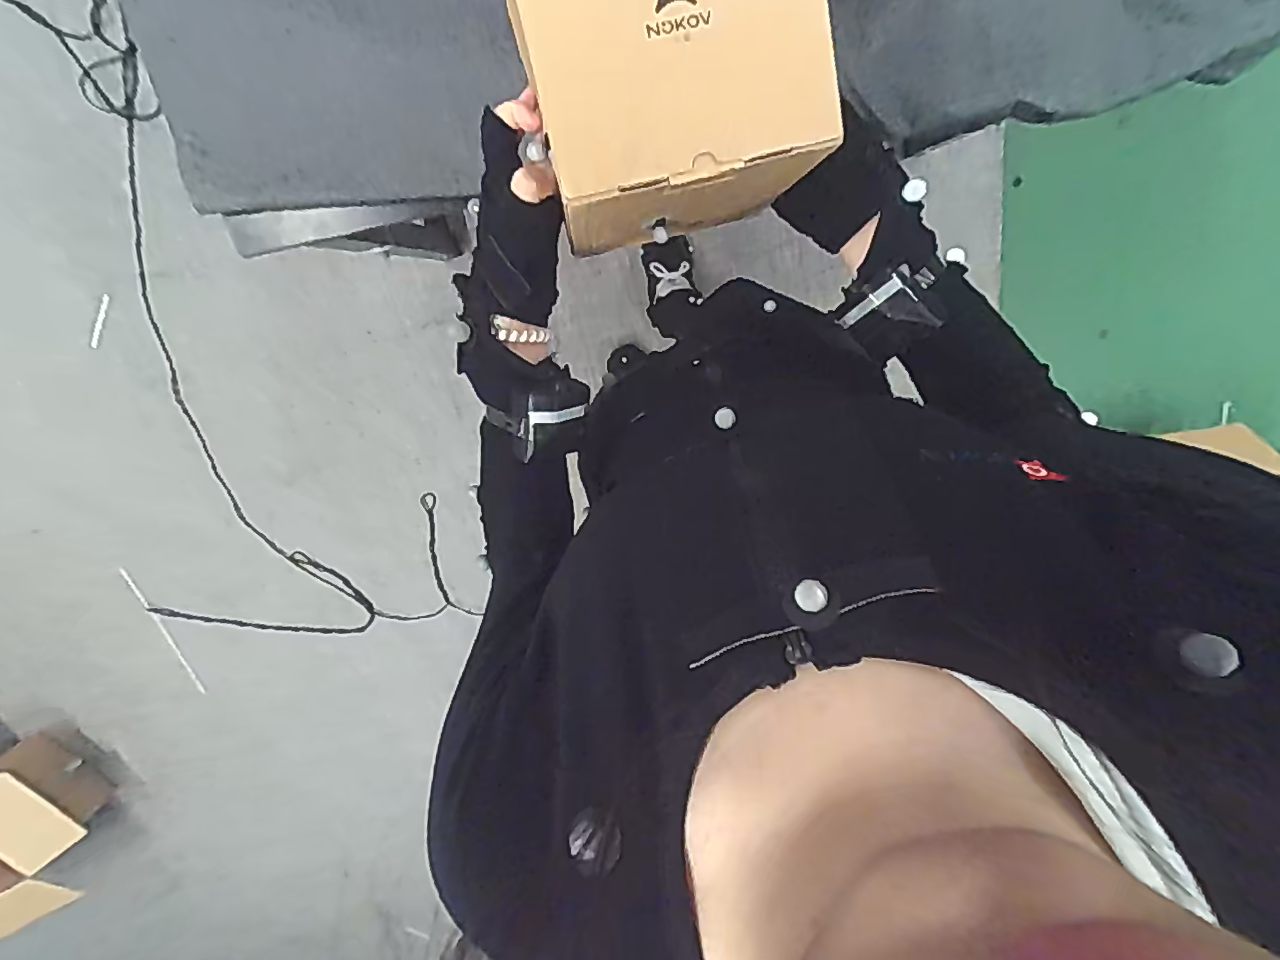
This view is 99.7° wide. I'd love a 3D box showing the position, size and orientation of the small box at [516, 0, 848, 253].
[{"bbox_3d":[0.013,-0.274,0.365,0.168,0.176,0.179,-15,105,-3],"label":"small box"}]
